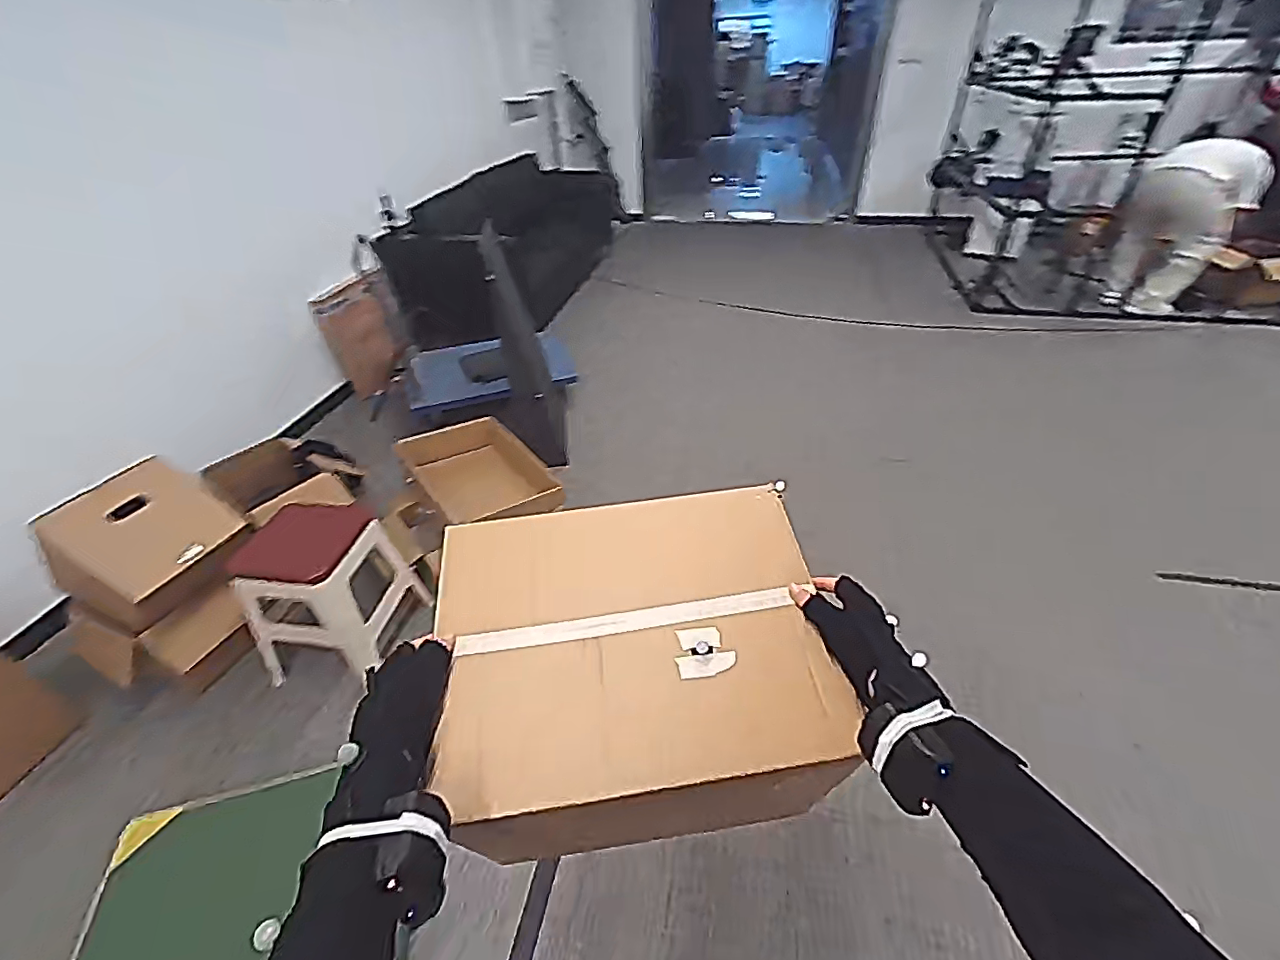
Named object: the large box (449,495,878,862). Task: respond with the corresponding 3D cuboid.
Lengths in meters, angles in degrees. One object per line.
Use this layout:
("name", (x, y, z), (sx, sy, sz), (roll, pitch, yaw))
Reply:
("large box", (0.009, 0.254, 0.692), (0.408, 0.320, 0.320), (-7, 50, -4))
